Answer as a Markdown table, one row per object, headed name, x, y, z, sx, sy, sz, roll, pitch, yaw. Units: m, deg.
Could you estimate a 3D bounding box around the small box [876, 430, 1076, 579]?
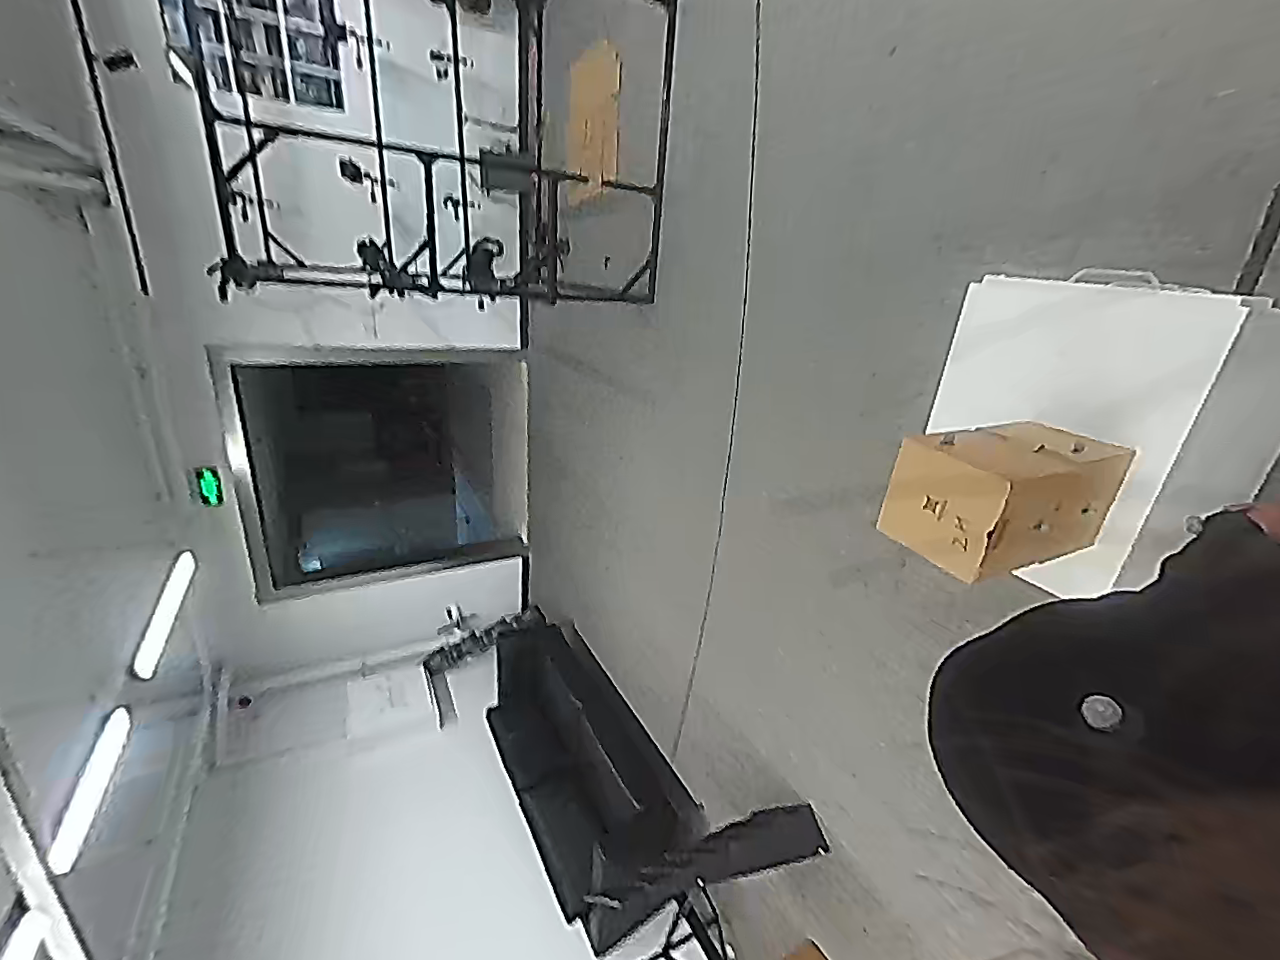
| name | x | y | z | sx | sy | sz | roll | pitch | yaw |
| --- | --- | --- | --- | --- | --- | --- | --- | --- | --- |
| small box | 0.511 | 0.027 | 0.837 | 0.179 | 0.176 | 0.168 | 42 | 134 | 52 |
